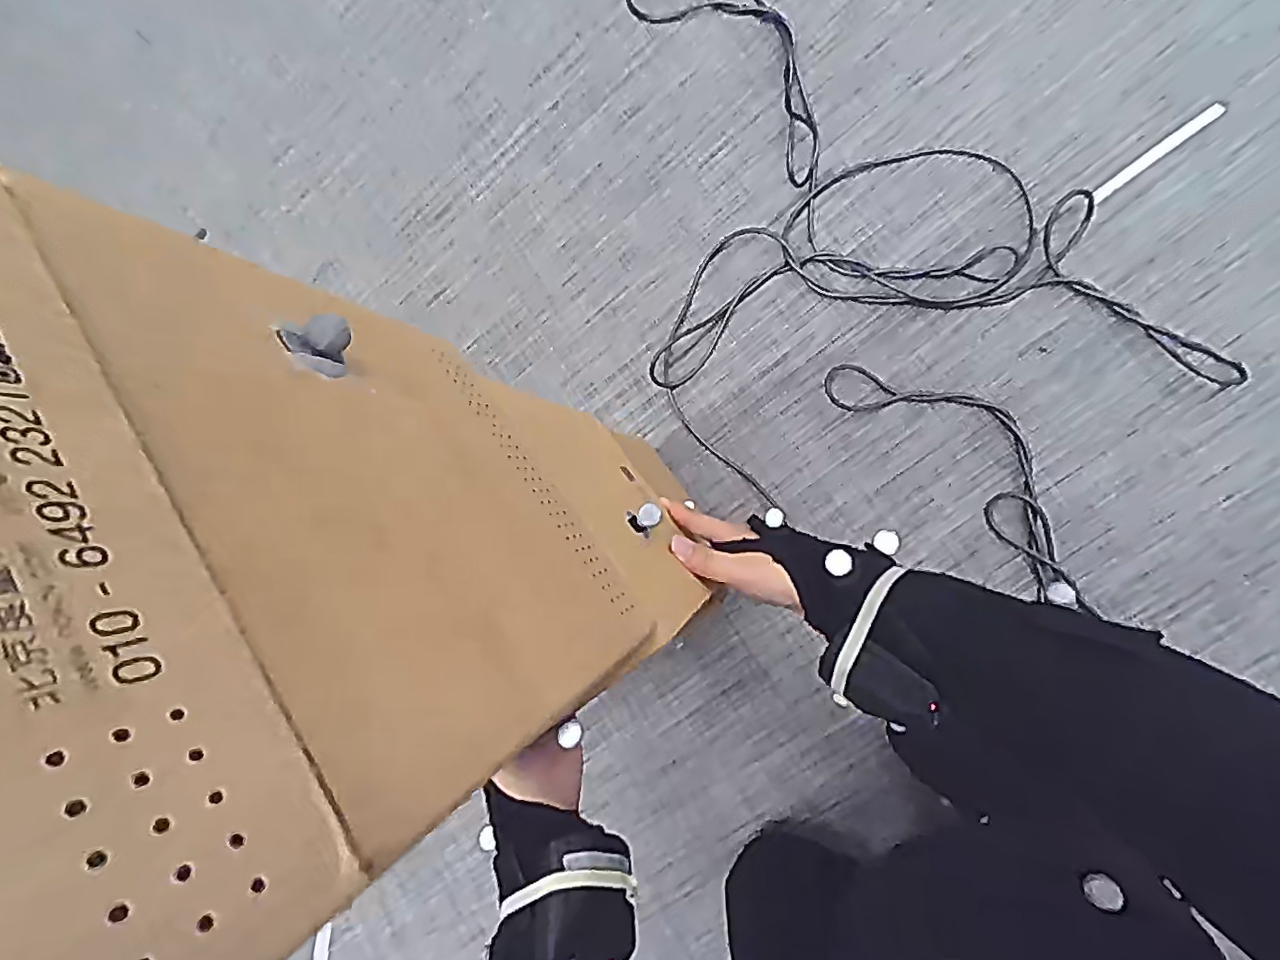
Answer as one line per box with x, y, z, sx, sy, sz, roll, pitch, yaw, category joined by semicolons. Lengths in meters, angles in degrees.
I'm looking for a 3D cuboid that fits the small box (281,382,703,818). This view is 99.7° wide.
-0.074;0.063;0.357;0.179;0.176;0.168;-40;78;13;small box

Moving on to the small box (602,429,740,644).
-0.026;0.076;0.511;0.168;0.176;0.179;-40;78;13;small box
